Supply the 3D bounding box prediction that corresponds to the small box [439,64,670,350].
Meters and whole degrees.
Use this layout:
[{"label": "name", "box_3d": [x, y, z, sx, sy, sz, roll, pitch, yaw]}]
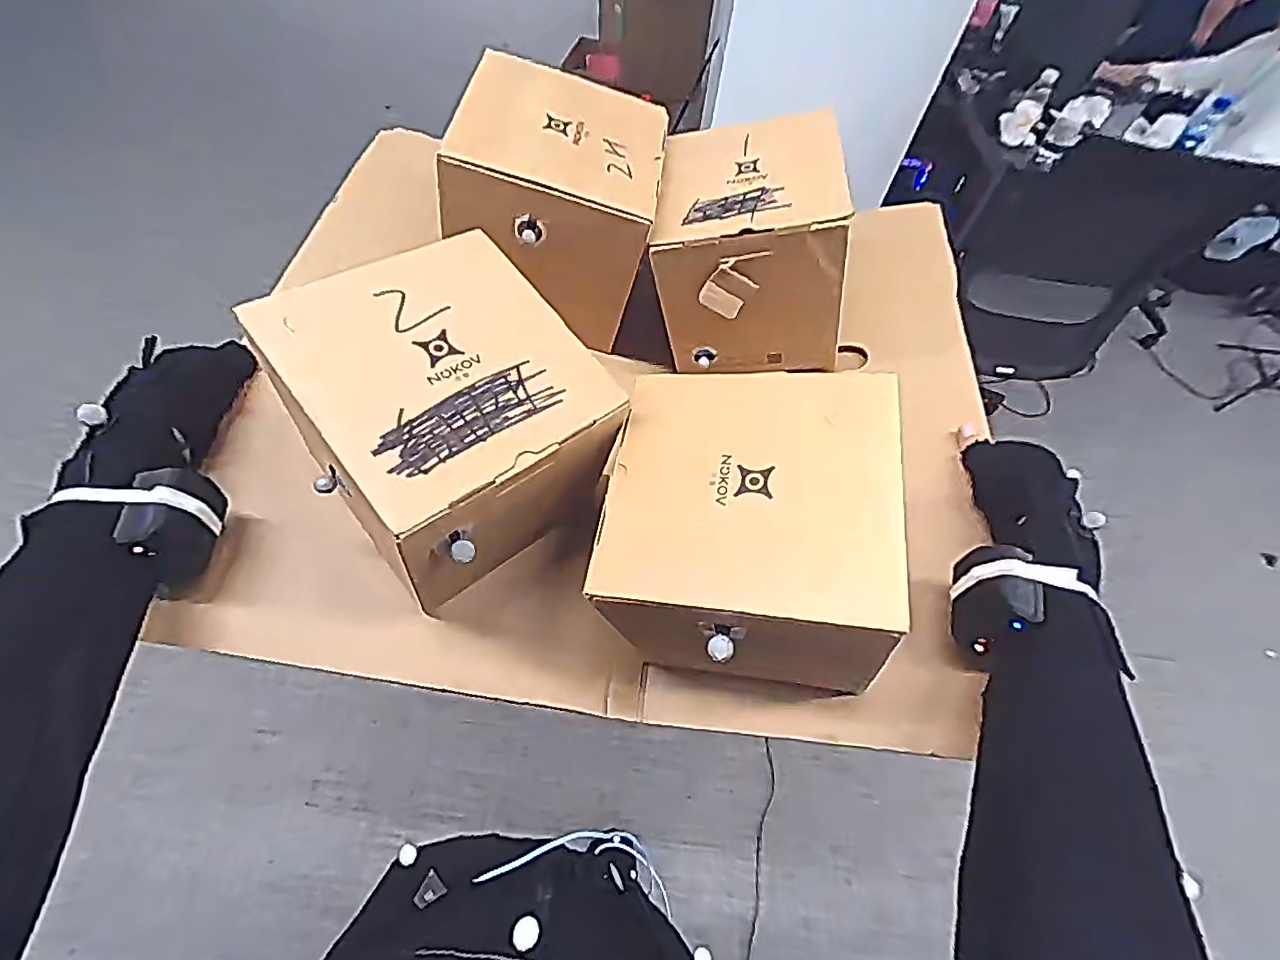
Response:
[{"label": "small box", "box_3d": [-0.084, -0.256, 0.538, 0.179, 0.176, 0.168, 13, 61, -10]}]
